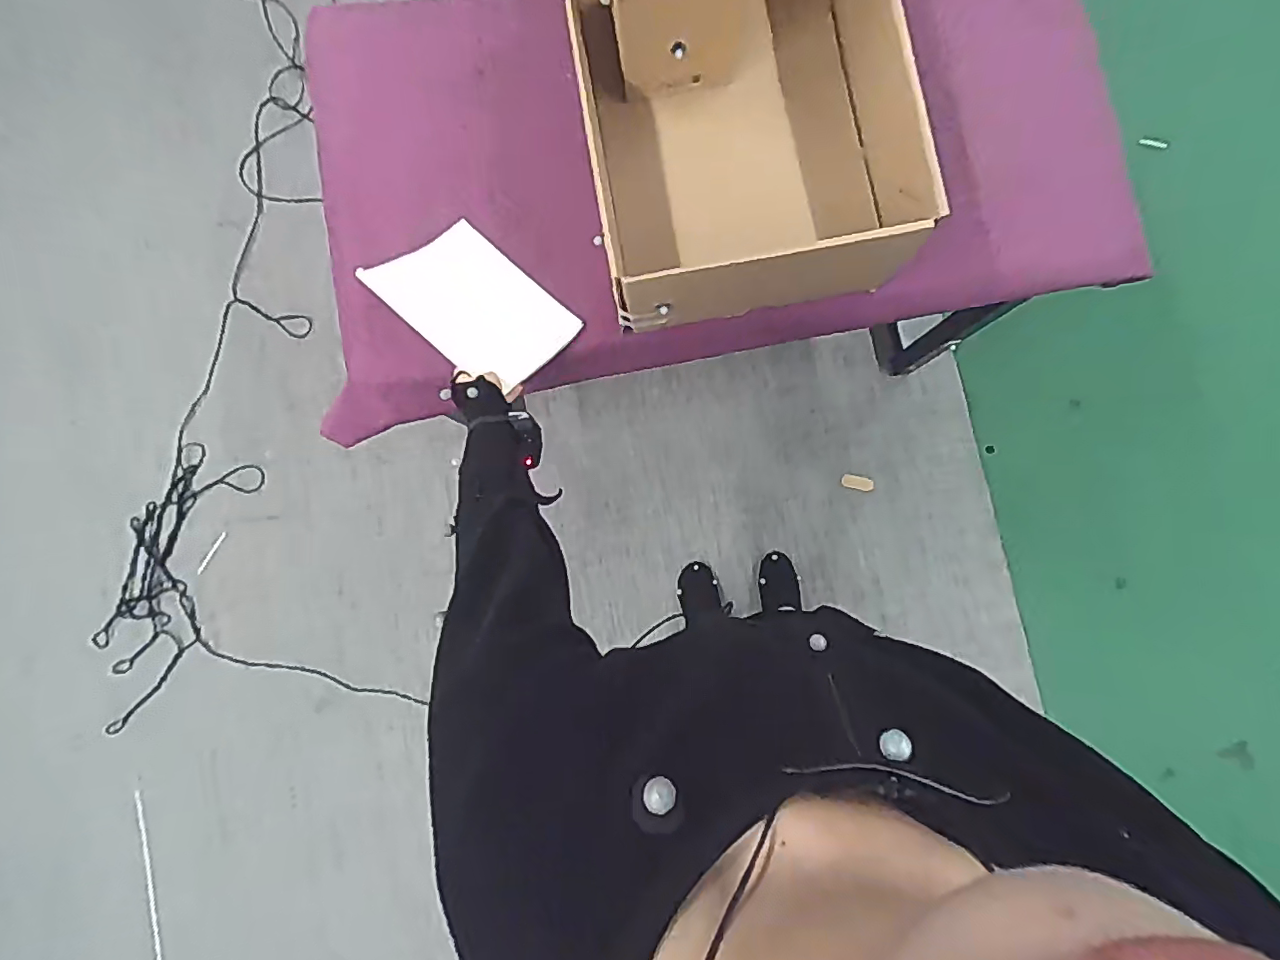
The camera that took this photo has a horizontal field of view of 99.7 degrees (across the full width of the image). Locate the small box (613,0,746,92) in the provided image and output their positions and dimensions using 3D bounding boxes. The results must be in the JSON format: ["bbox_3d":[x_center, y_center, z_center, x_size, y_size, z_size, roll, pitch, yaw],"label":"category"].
[{"bbox_3d":[0.046,-0.661,0.724,0.168,0.176,0.179,-9,86,2],"label":"small box"}]
